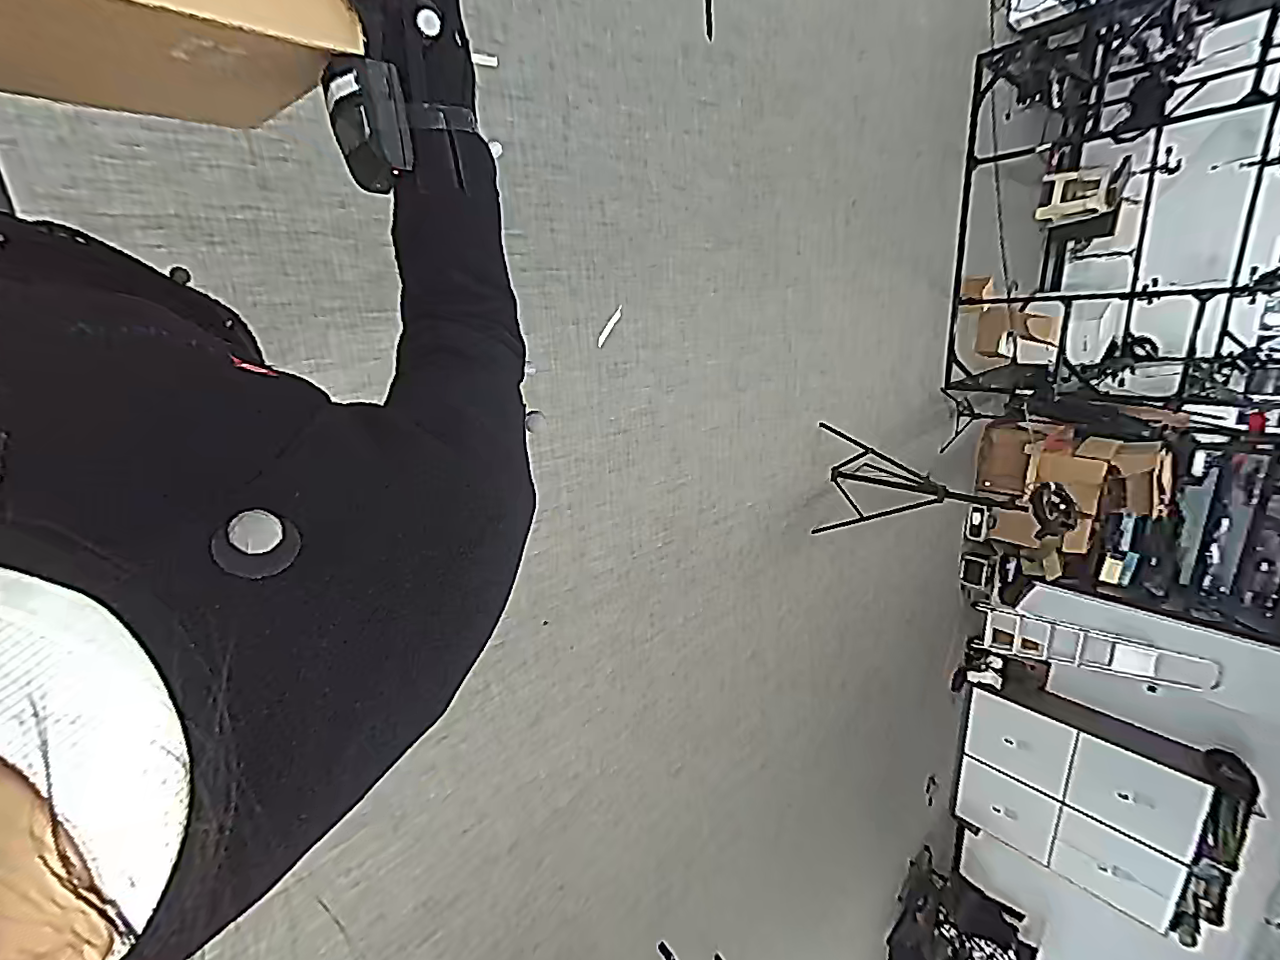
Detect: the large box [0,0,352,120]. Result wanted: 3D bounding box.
[{"bbox_3d":[-0.422,-0.398,0.248,0.408,0.320,0.320,-20,121,-41],"label":"large box"}]
